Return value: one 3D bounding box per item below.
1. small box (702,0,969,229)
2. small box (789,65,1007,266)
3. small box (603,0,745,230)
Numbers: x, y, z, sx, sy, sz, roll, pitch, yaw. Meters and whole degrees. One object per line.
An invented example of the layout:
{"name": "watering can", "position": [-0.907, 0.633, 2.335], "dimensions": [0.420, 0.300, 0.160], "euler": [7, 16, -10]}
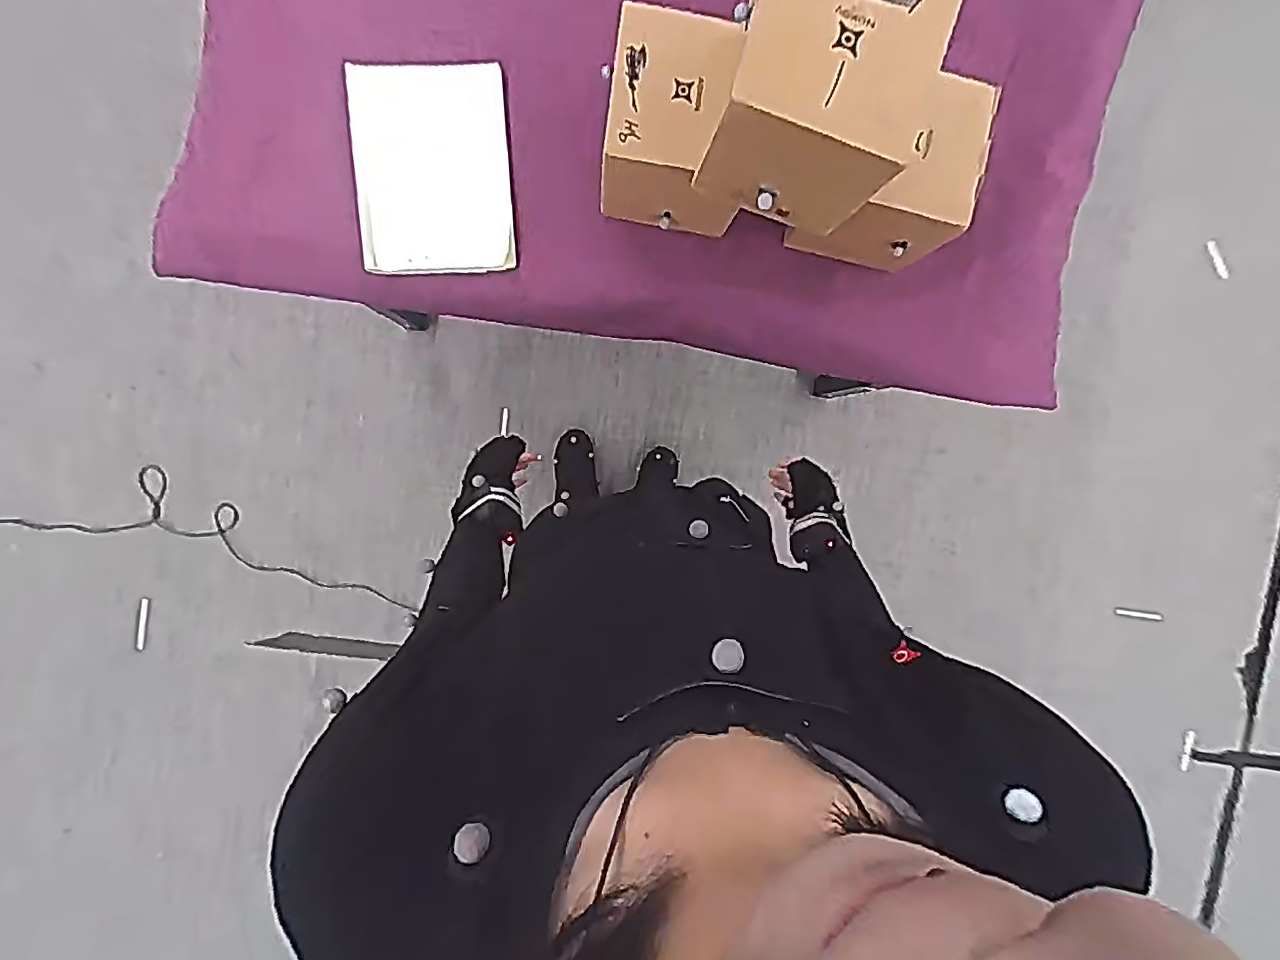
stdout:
{"name": "small box", "position": [0.170, -0.378, 0.516], "dimensions": [0.168, 0.176, 0.179], "euler": [17, 93, -6]}
{"name": "small box", "position": [0.314, -0.394, 0.692], "dimensions": [0.179, 0.176, 0.168], "euler": [12, 91, -3]}
{"name": "small box", "position": [0.052, -0.431, 0.669], "dimensions": [0.179, 0.176, 0.168], "euler": [8, 93, -6]}
